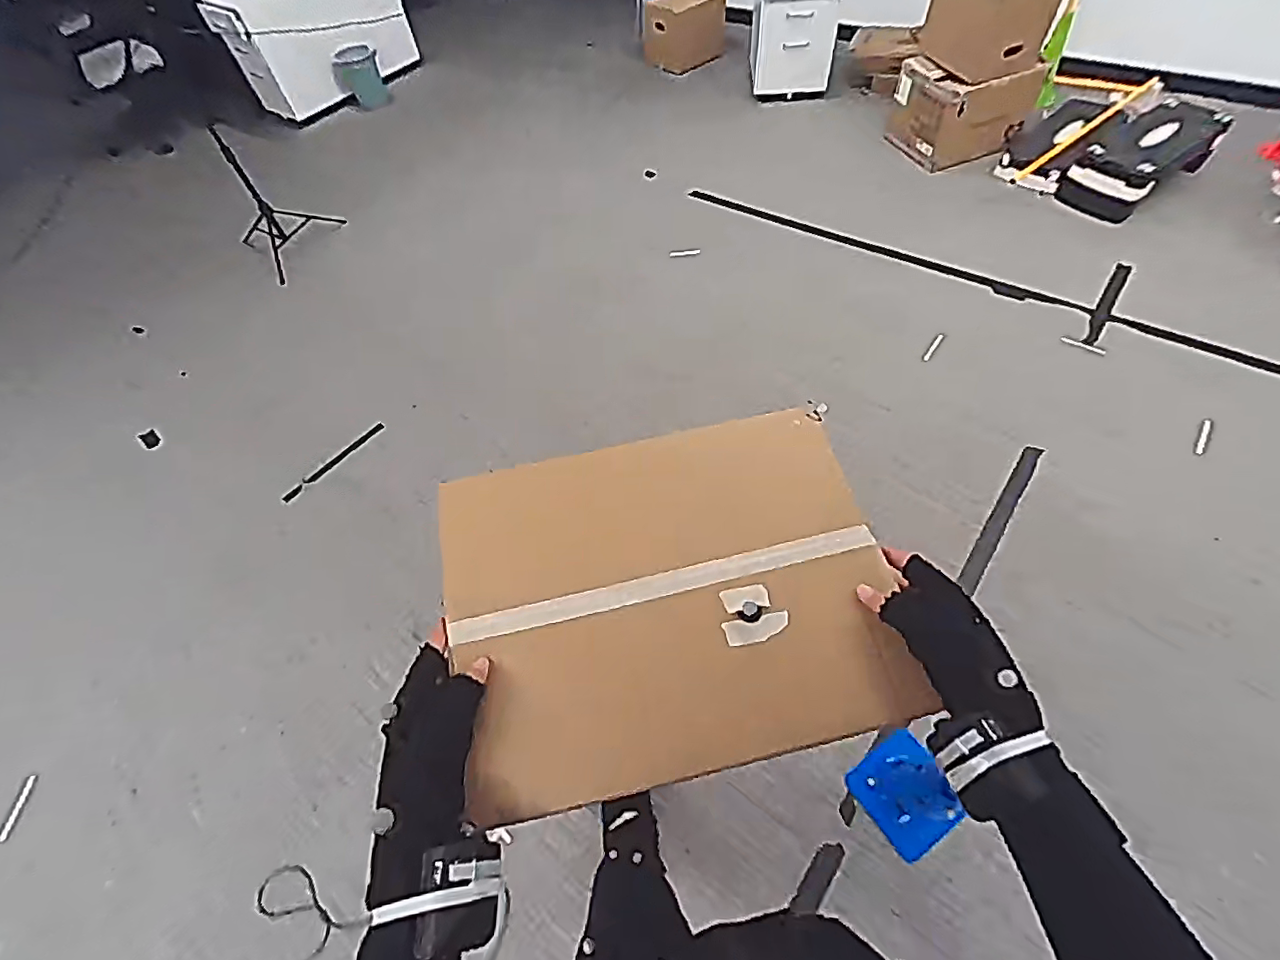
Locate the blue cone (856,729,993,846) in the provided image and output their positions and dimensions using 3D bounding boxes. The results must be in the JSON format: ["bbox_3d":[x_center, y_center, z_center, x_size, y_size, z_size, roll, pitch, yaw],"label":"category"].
[{"bbox_3d":[0.594,0.599,1.079,0.192,0.380,0.193,-30,59,-13],"label":"blue cone"}]

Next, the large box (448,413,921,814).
[{"bbox_3d":[0.026,0.168,0.654,0.408,0.320,0.320,-12,63,-4],"label":"large box"}]
